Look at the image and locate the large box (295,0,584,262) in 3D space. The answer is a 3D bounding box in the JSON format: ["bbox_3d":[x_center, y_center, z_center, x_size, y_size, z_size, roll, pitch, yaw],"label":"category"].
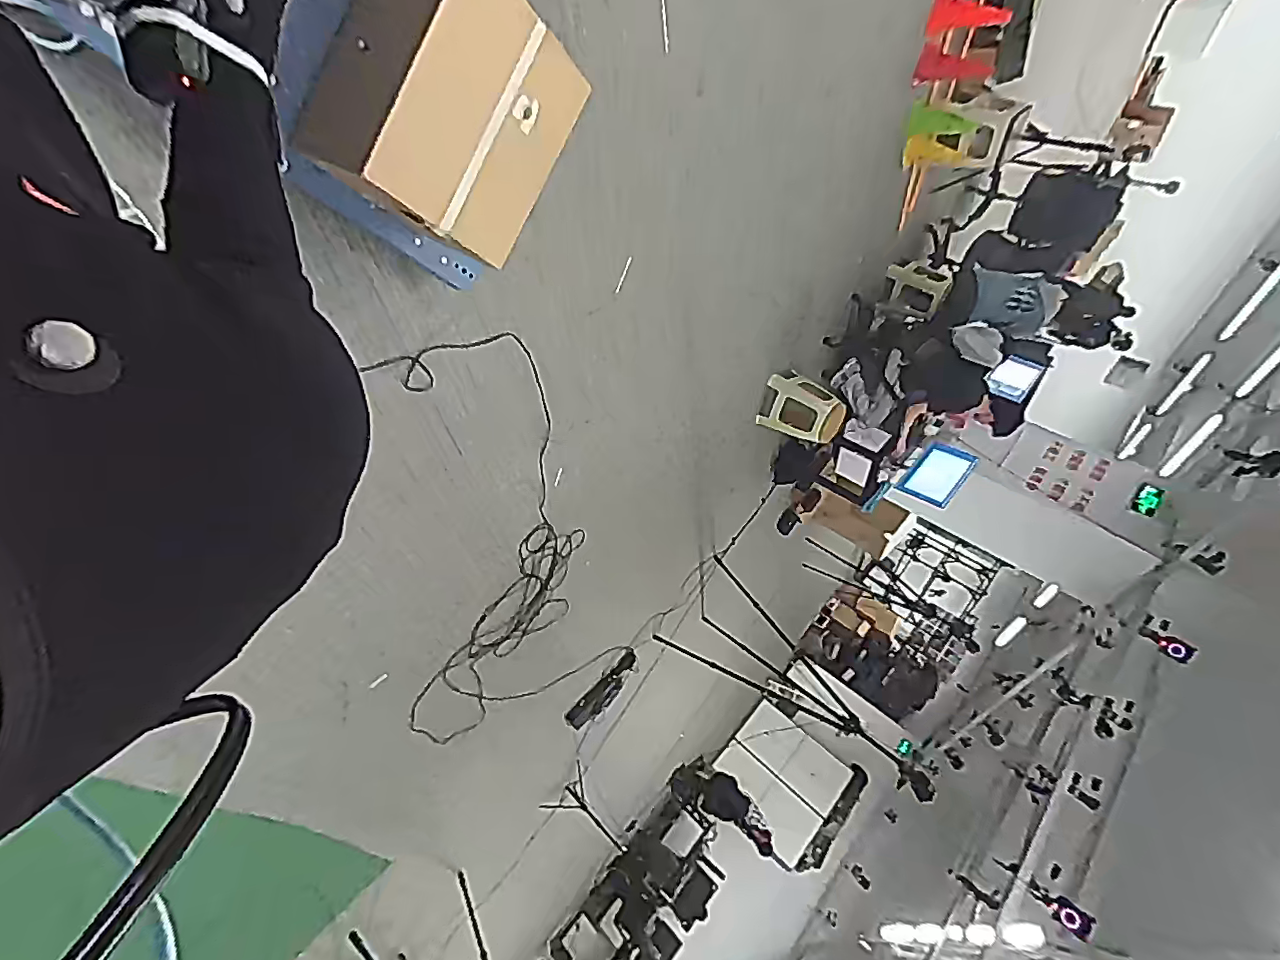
[{"bbox_3d":[-0.386,-0.712,1.050,0.320,0.320,0.408,19,101,-59],"label":"large box"}]
